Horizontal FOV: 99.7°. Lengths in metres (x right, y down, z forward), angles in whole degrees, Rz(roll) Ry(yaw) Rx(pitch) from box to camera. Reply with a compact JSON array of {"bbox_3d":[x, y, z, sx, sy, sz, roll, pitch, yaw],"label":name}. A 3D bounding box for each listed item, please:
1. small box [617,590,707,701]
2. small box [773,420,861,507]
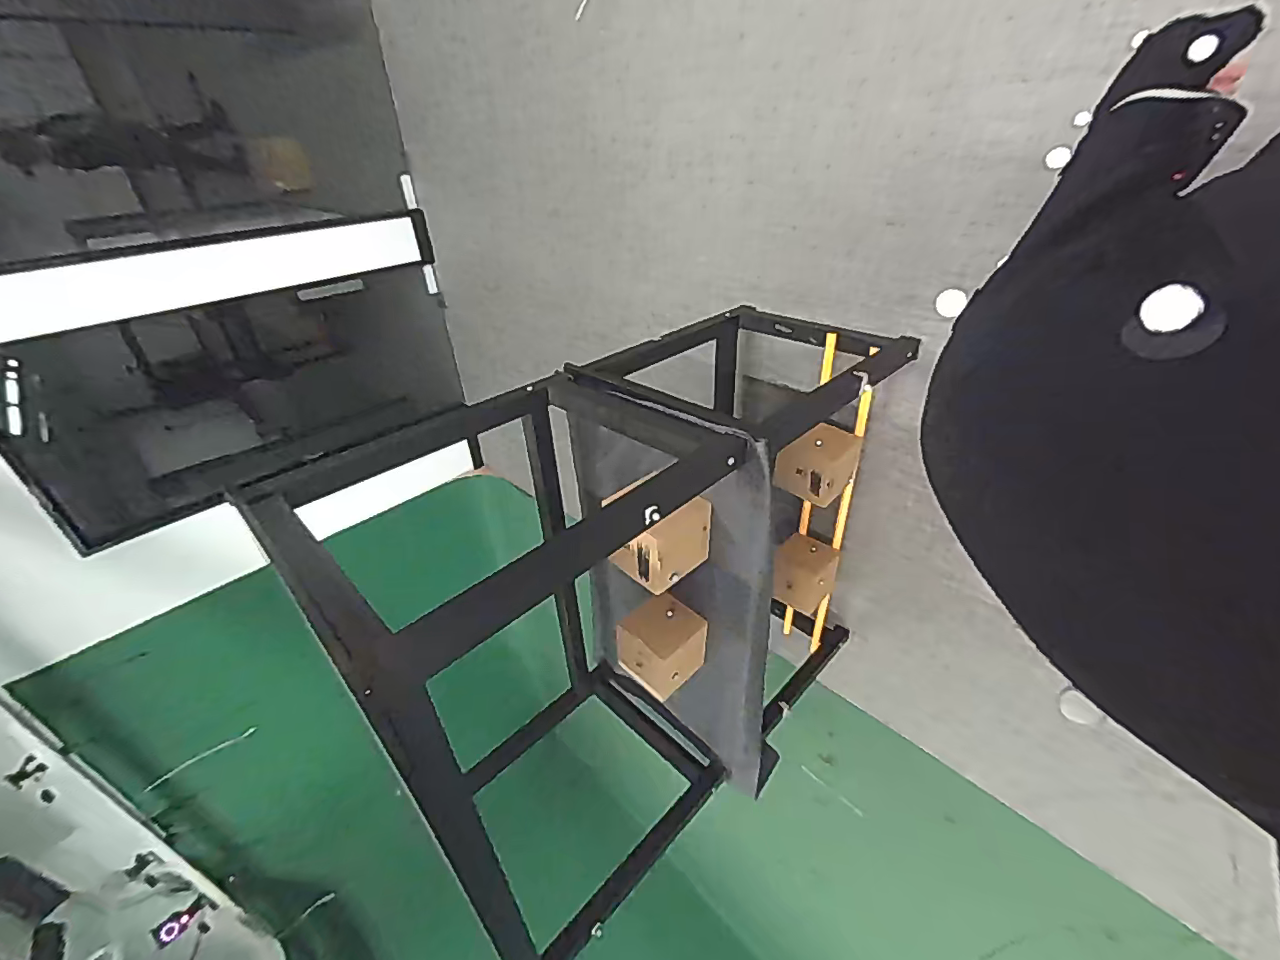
[{"bbox_3d":[0.058,0.426,1.406,0.168,0.176,0.179,30,135,35],"label":"small box"},{"bbox_3d":[0.516,-0.056,1.579,0.179,0.176,0.168,30,135,35],"label":"small box"}]
